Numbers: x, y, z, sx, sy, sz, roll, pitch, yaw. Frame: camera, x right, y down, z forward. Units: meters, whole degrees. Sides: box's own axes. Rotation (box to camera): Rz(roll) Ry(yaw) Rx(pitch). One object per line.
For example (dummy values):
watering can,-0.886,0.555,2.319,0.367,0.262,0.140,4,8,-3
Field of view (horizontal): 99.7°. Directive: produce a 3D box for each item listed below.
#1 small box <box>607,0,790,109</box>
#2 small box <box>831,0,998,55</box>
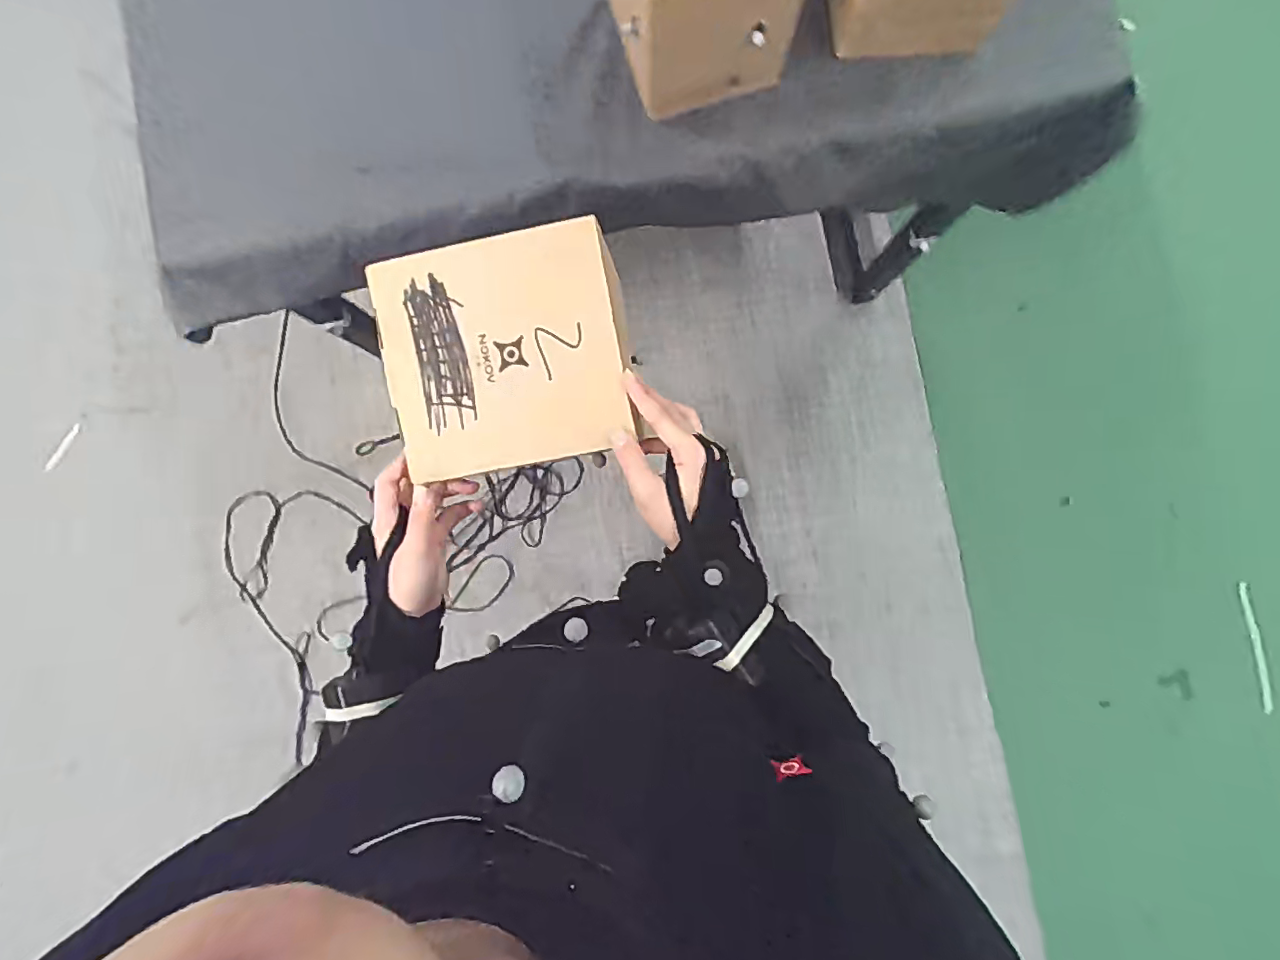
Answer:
small box,0.059,-0.545,0.586,0.168,0.176,0.179,-18,85,-1
small box,0.312,-0.604,0.584,0.179,0.176,0.168,-3,86,1
